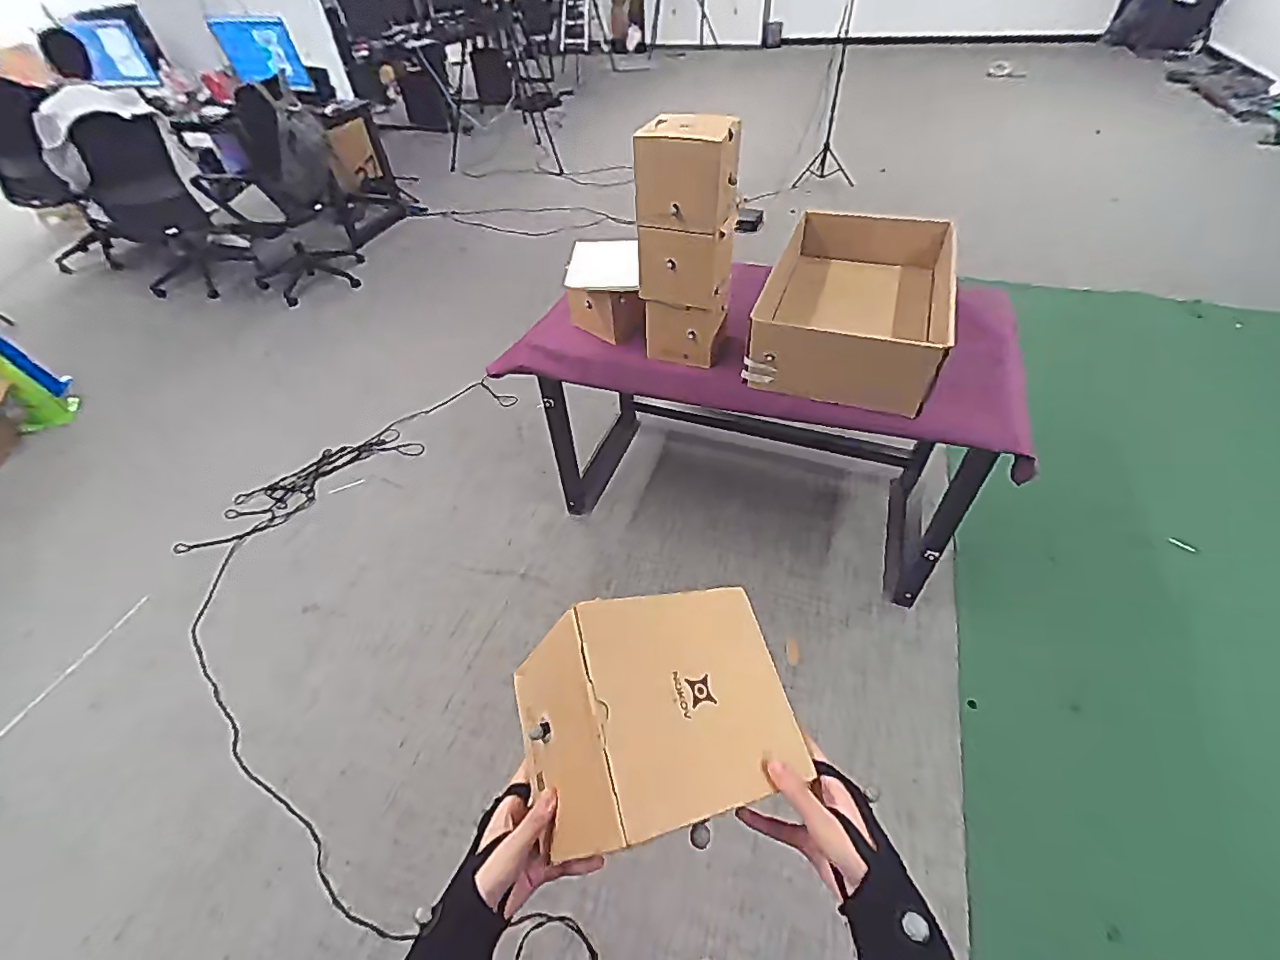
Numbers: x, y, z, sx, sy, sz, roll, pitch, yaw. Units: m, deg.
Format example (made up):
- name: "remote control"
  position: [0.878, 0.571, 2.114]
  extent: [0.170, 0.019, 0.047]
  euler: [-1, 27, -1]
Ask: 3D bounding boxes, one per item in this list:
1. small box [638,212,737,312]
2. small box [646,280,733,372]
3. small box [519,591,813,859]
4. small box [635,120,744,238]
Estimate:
- name: "small box"
  position: [0.108, -0.501, 1.227]
  extent: [0.179, 0.176, 0.168]
  euler: [14, 48, 17]
- name: "small box"
  position: [0.126, -0.393, 1.349]
  extent: [0.168, 0.176, 0.179]
  euler: [15, 48, 17]
- name: "small box"
  position: [0.009, 0.212, 0.479]
  extent: [0.179, 0.176, 0.168]
  euler: [2, 54, -30]
- name: "small box"
  position: [0.101, -0.616, 1.110]
  extent: [0.179, 0.176, 0.168]
  euler: [15, 48, 16]
